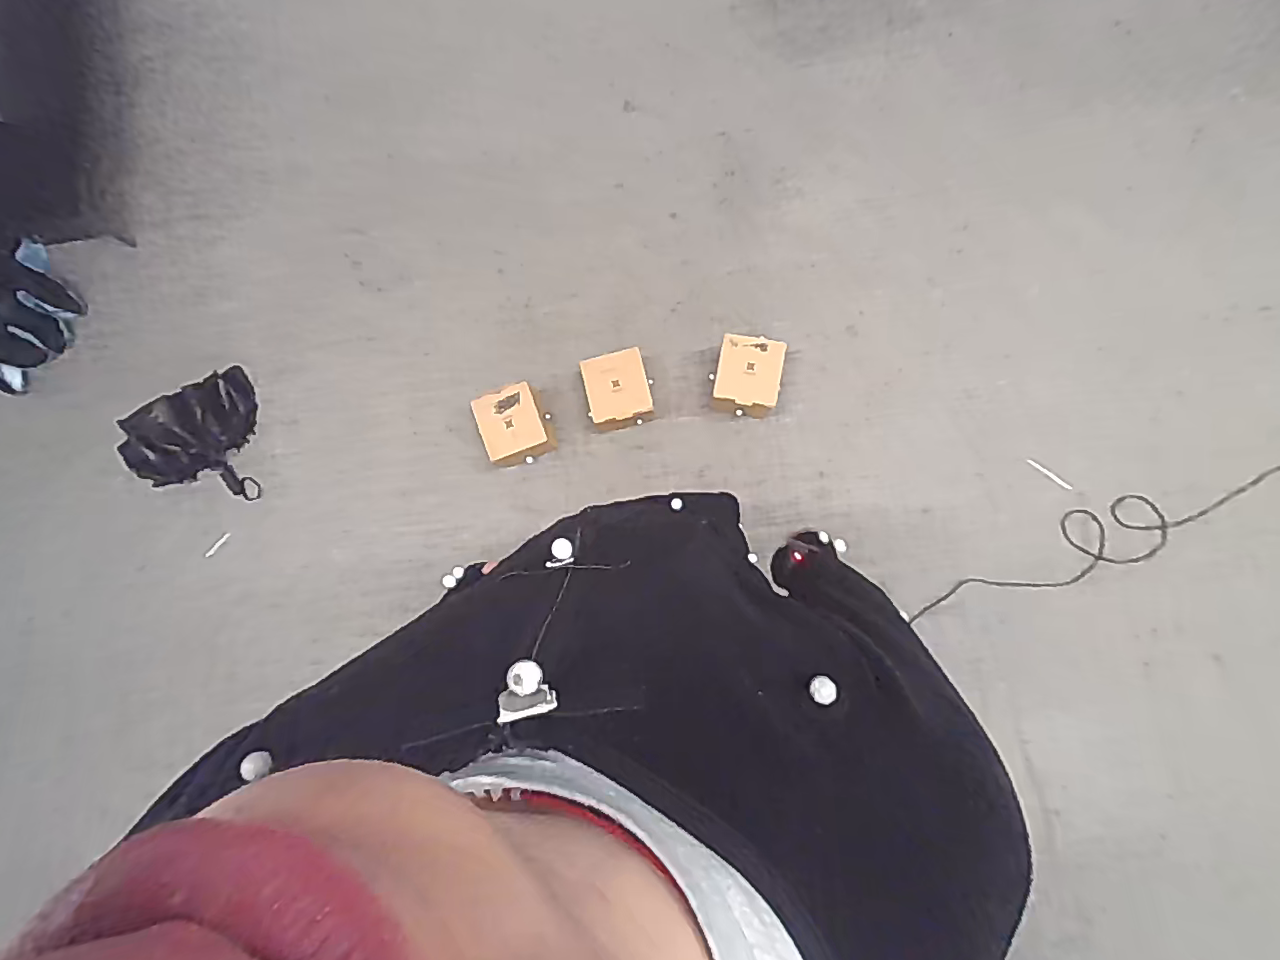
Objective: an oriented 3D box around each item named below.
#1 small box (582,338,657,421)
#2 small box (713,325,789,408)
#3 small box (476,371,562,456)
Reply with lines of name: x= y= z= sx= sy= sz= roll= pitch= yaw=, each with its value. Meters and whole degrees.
small box: x=-0.051 y=-0.270 z=1.507 sx=0.168 sy=0.176 sz=0.179 roll=-14 pitch=85 yaw=2
small box: x=0.296 y=-0.303 z=1.481 sx=0.168 sy=0.176 sz=0.179 roll=11 pitch=88 yaw=5
small box: x=-0.334 y=-0.180 z=1.518 sx=0.168 sy=0.176 sz=0.179 roll=-20 pitch=87 yaw=3
